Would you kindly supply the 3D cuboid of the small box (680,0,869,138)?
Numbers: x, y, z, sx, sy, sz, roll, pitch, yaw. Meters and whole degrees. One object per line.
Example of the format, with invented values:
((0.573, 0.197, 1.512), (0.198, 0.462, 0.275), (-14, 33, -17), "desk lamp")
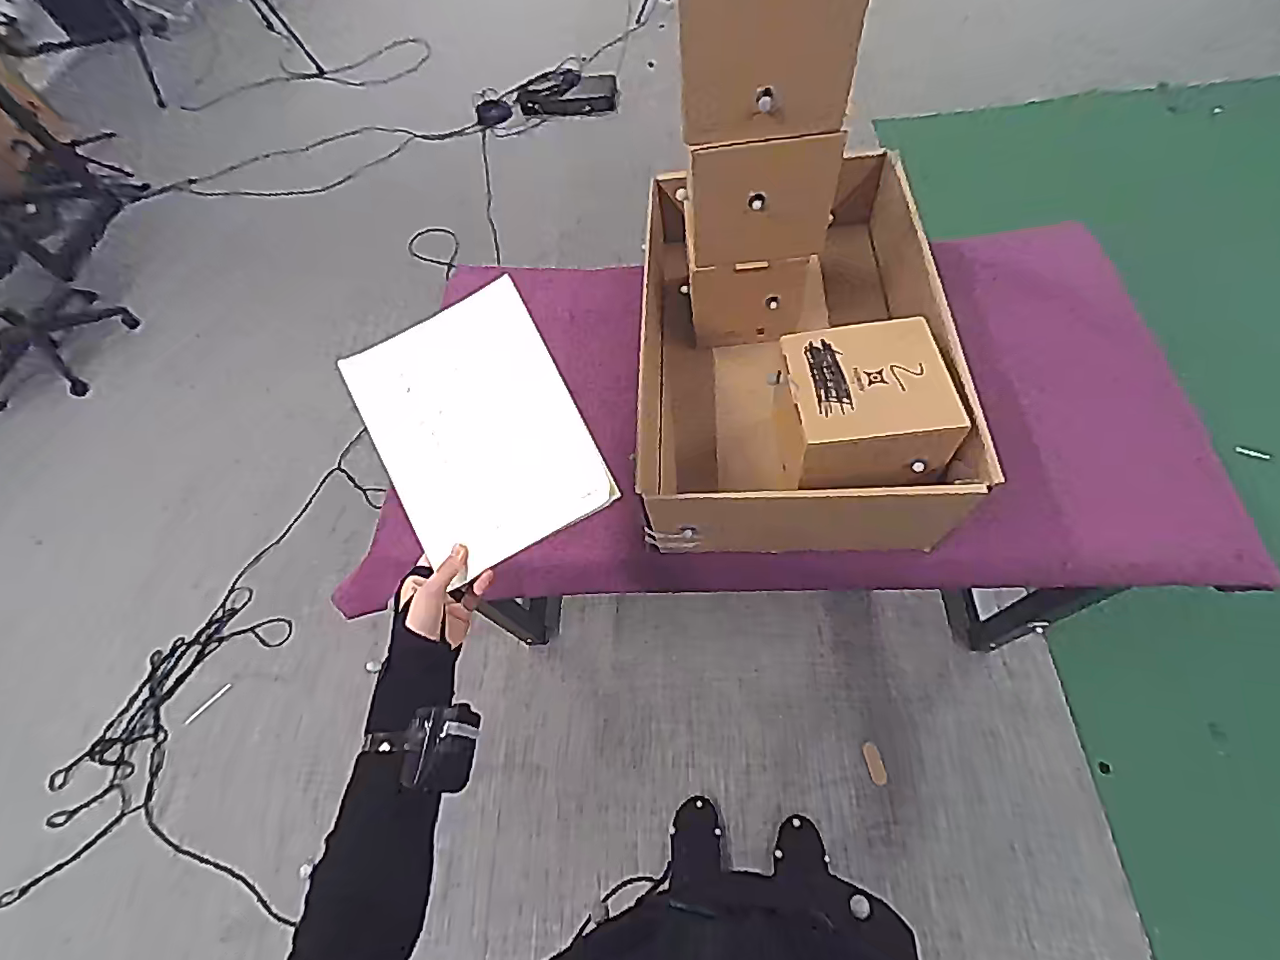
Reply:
((0.130, -0.490, 0.563), (0.179, 0.176, 0.168), (-1, 62, 6), "small box")

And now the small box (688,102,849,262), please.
((0.152, -0.411, 0.705), (0.179, 0.176, 0.168), (-4, 62, 6), "small box")
